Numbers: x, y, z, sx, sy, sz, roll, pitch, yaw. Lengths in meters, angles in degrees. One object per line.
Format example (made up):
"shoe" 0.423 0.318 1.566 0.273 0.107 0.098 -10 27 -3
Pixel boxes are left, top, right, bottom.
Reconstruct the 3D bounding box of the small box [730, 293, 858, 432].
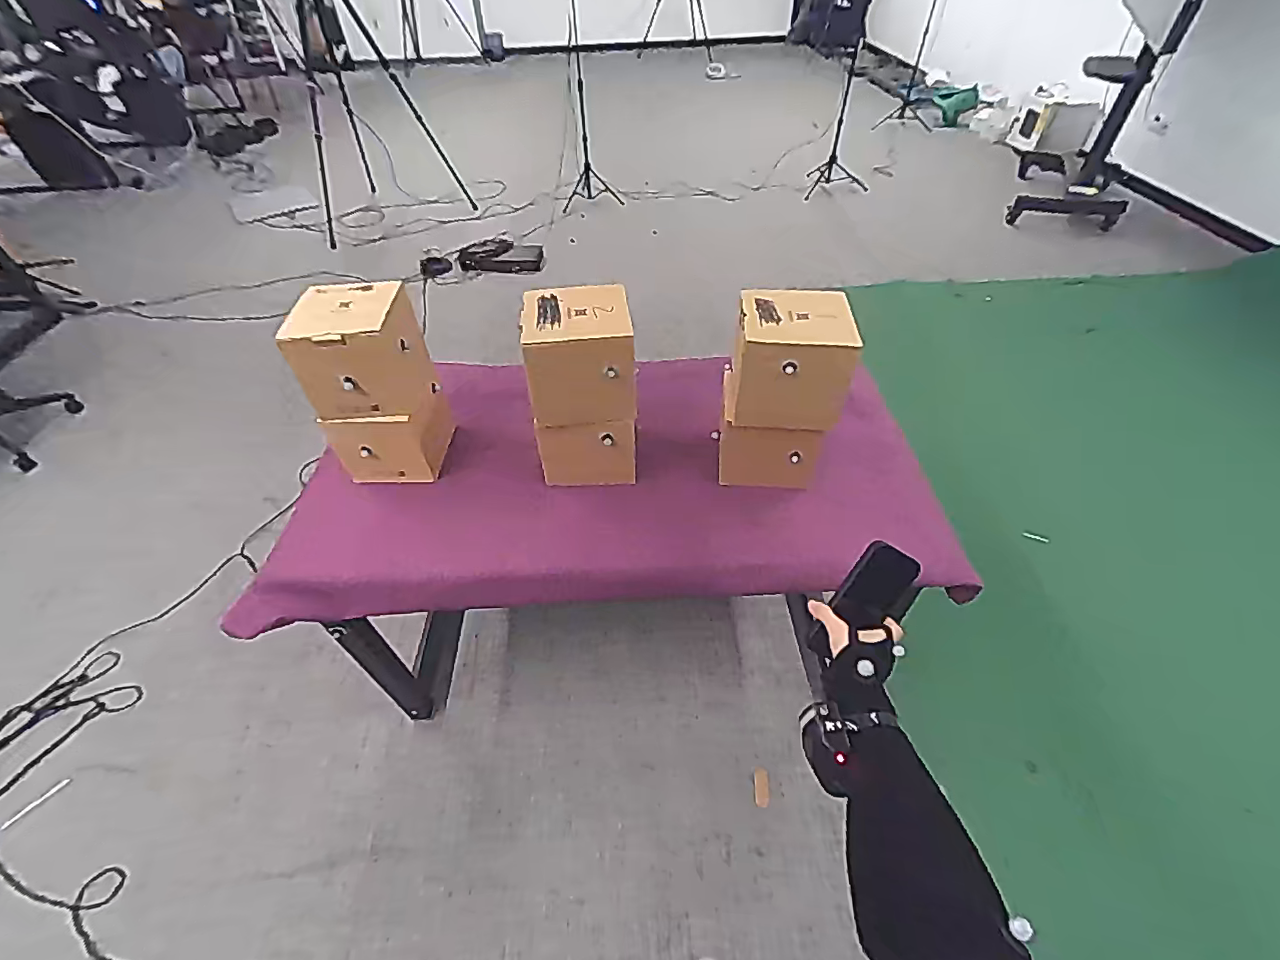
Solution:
"small box" 0.246 -0.196 0.913 0.179 0.176 0.168 4 47 4

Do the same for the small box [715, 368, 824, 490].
"small box" 0.241 -0.096 1.043 0.179 0.176 0.168 4 47 6

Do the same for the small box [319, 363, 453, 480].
"small box" -0.490 -0.113 1.079 0.168 0.176 0.179 0 47 1

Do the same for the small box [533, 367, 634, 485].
"small box" -0.100 -0.103 1.057 0.179 0.176 0.168 -1 47 1

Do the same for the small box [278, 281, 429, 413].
"small box" -0.494 -0.231 0.964 0.168 0.176 0.179 -4 48 -3
